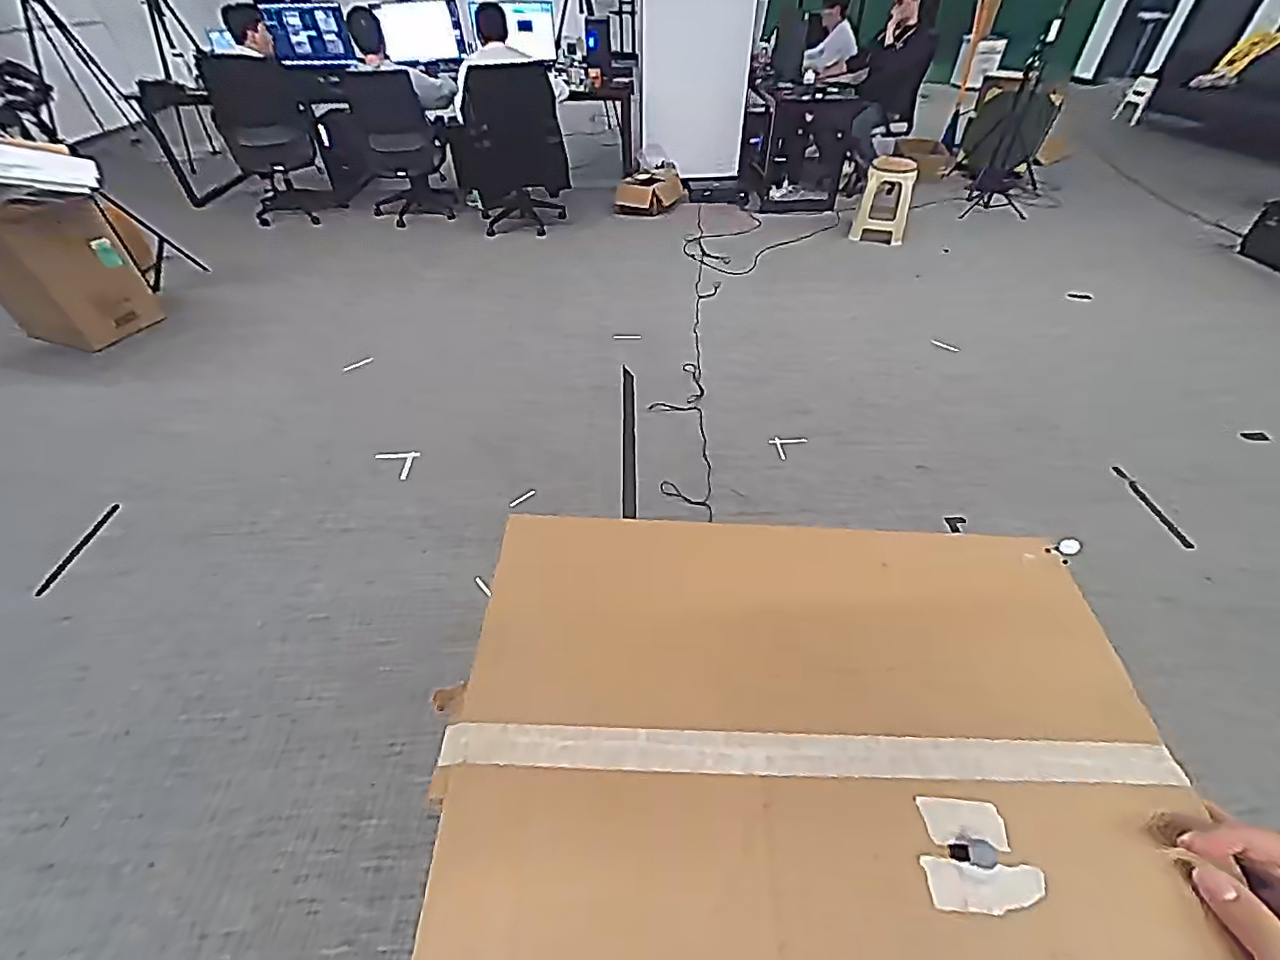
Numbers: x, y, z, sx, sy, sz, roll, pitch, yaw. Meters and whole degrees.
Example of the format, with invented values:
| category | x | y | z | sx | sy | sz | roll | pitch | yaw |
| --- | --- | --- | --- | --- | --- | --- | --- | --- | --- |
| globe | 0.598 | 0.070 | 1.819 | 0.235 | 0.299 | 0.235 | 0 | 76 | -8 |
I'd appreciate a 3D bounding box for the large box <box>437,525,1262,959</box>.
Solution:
| category | x | y | z | sx | sy | sz | roll | pitch | yaw |
| --- | --- | --- | --- | --- | --- | --- | --- | --- | --- |
| large box | 0.094 | 0.255 | 0.426 | 0.408 | 0.320 | 0.320 | 3 | 51 | -2 |
